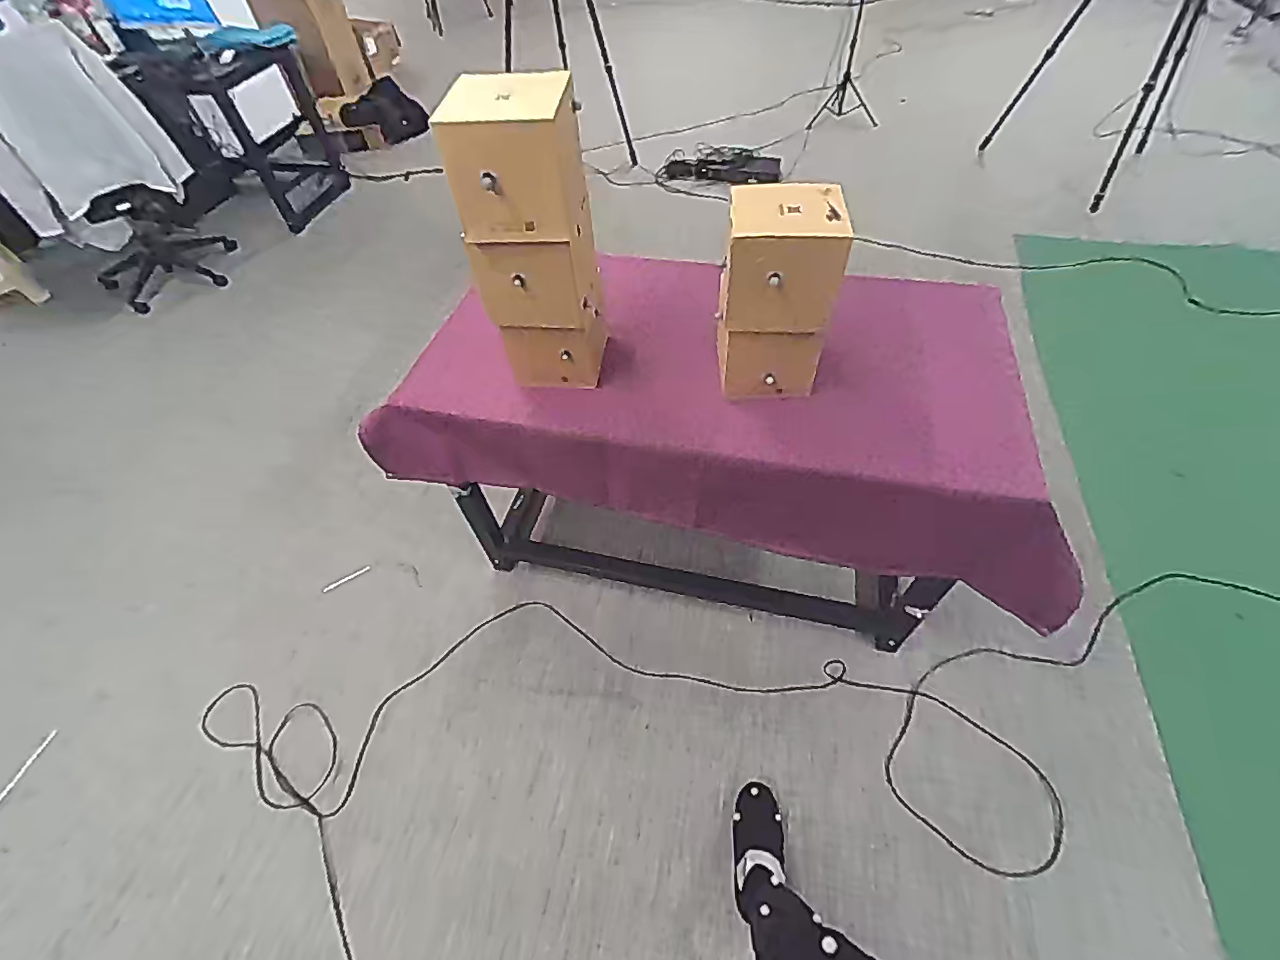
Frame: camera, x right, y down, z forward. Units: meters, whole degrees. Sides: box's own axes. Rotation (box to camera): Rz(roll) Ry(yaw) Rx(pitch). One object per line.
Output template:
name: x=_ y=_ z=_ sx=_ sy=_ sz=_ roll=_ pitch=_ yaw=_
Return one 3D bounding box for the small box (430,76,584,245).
small box: x=-0.181 y=-0.467 z=0.800 sx=0.168 sy=0.176 sz=0.179 roll=1 pitch=52 yaw=4

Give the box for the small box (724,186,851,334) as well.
small box: x=0.229 y=-0.355 z=0.882 sx=0.179 sy=0.176 sz=0.168 roll=3 pitch=53 yaw=7

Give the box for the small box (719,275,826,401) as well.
small box: x=0.240 y=-0.270 z=1.024 sx=0.168 sy=0.176 sz=0.179 roll=-1 pitch=52 yaw=4

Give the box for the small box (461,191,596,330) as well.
small box: x=-0.178 y=-0.378 z=0.937 sx=0.179 sy=0.176 sz=0.168 roll=4 pitch=53 yaw=7

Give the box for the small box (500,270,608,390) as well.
small box: x=-0.161 y=-0.298 z=1.081 sx=0.168 sy=0.176 sz=0.179 roll=4 pitch=52 yaw=7
